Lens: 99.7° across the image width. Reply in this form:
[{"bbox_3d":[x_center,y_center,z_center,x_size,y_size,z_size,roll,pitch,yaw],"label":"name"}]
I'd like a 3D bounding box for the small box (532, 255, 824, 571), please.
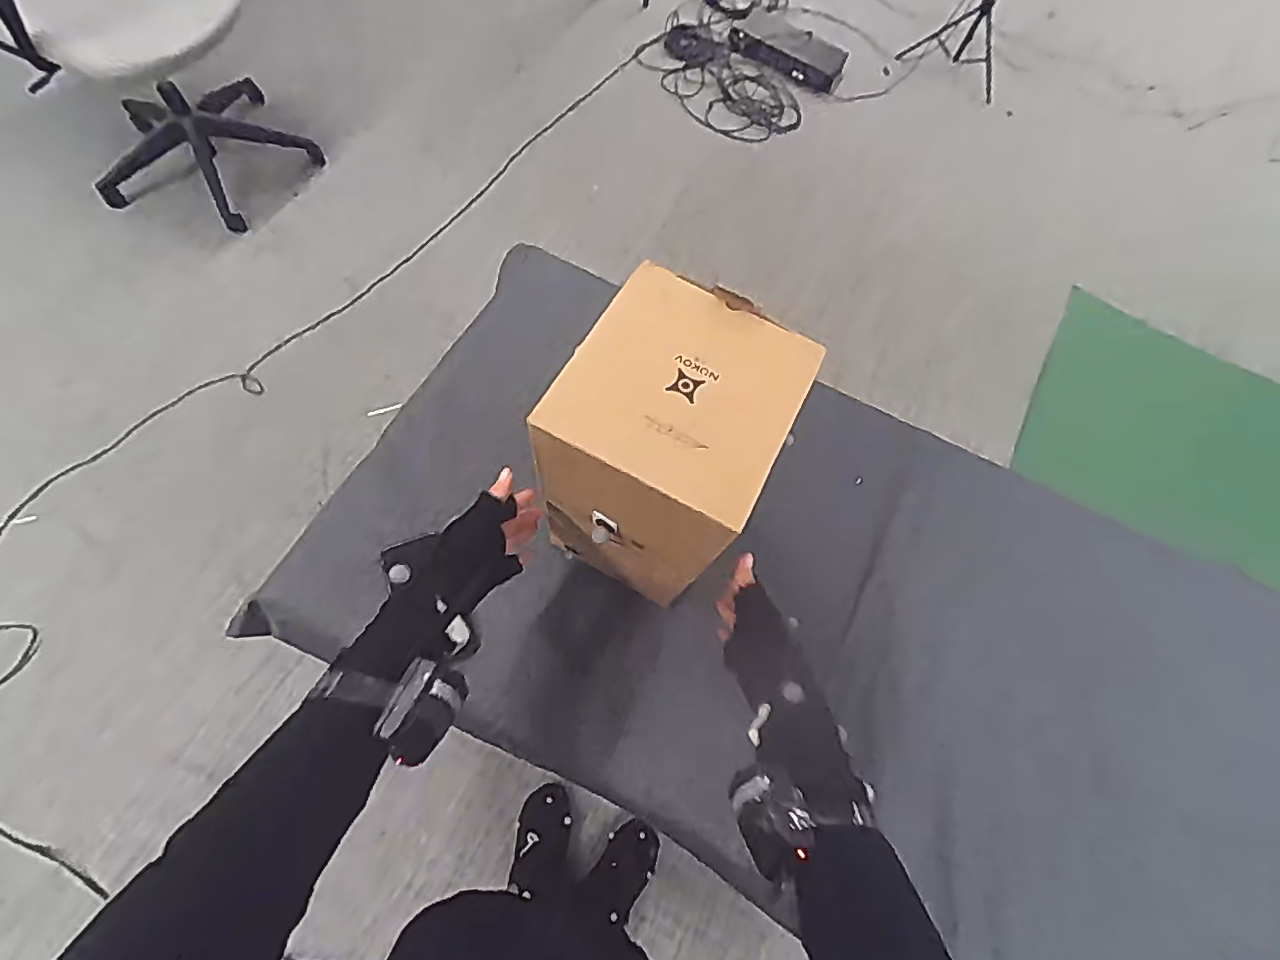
[{"bbox_3d":[0.025,-0.046,0.469,0.168,0.176,0.179,28,69,6],"label":"small box"}]

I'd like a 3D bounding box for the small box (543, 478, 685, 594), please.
[{"bbox_3d":[0.009,0.010,0.621,0.168,0.176,0.179,29,67,5],"label":"small box"}]
